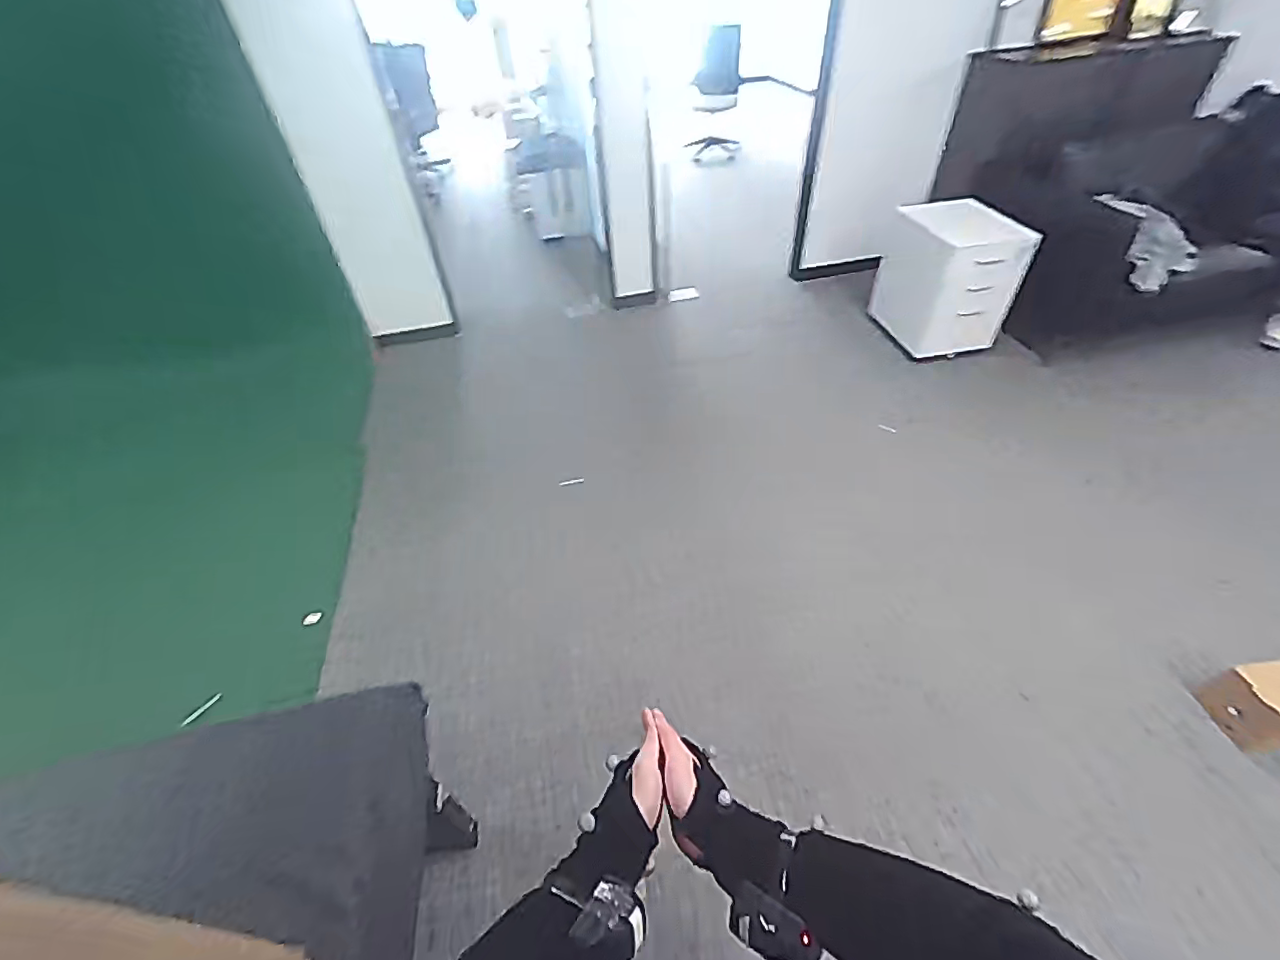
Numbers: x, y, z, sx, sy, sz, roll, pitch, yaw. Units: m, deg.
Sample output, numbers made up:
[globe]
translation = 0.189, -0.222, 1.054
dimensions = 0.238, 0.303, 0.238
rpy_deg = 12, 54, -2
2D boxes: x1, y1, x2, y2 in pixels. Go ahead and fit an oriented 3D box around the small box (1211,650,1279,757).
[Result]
[small box]
translation = 1.658, 0.586, 1.399
dimensions = 0.168, 0.176, 0.179
rpy_deg = -27, 47, -24
